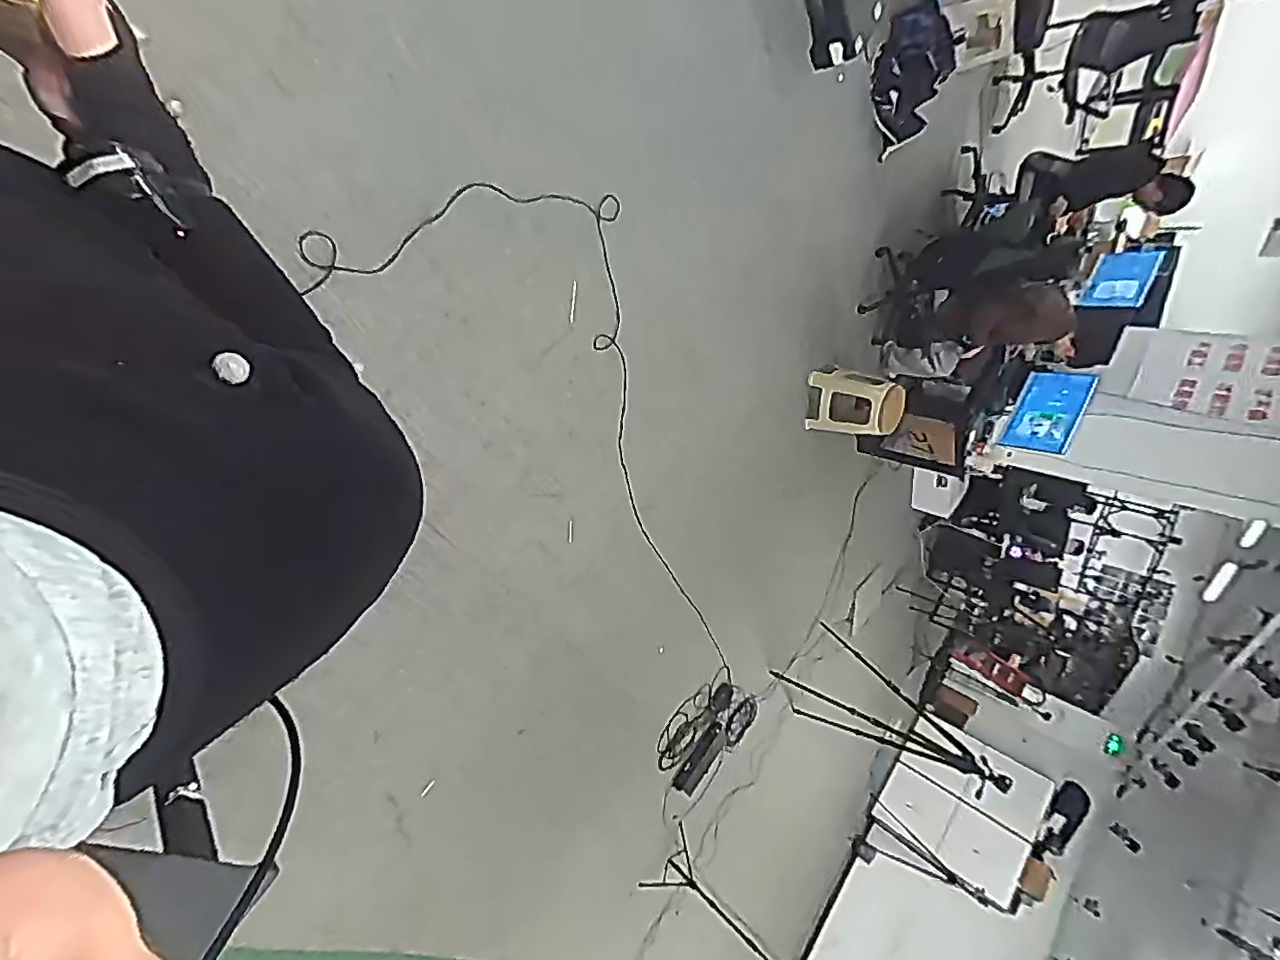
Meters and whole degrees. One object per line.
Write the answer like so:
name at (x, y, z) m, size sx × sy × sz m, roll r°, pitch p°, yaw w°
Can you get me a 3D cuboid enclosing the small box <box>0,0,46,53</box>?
small box at (-0.430, -0.333, 0.254) m, size 0.179 × 0.176 × 0.168 m, roll -14°, pitch 119°, yaw -44°
